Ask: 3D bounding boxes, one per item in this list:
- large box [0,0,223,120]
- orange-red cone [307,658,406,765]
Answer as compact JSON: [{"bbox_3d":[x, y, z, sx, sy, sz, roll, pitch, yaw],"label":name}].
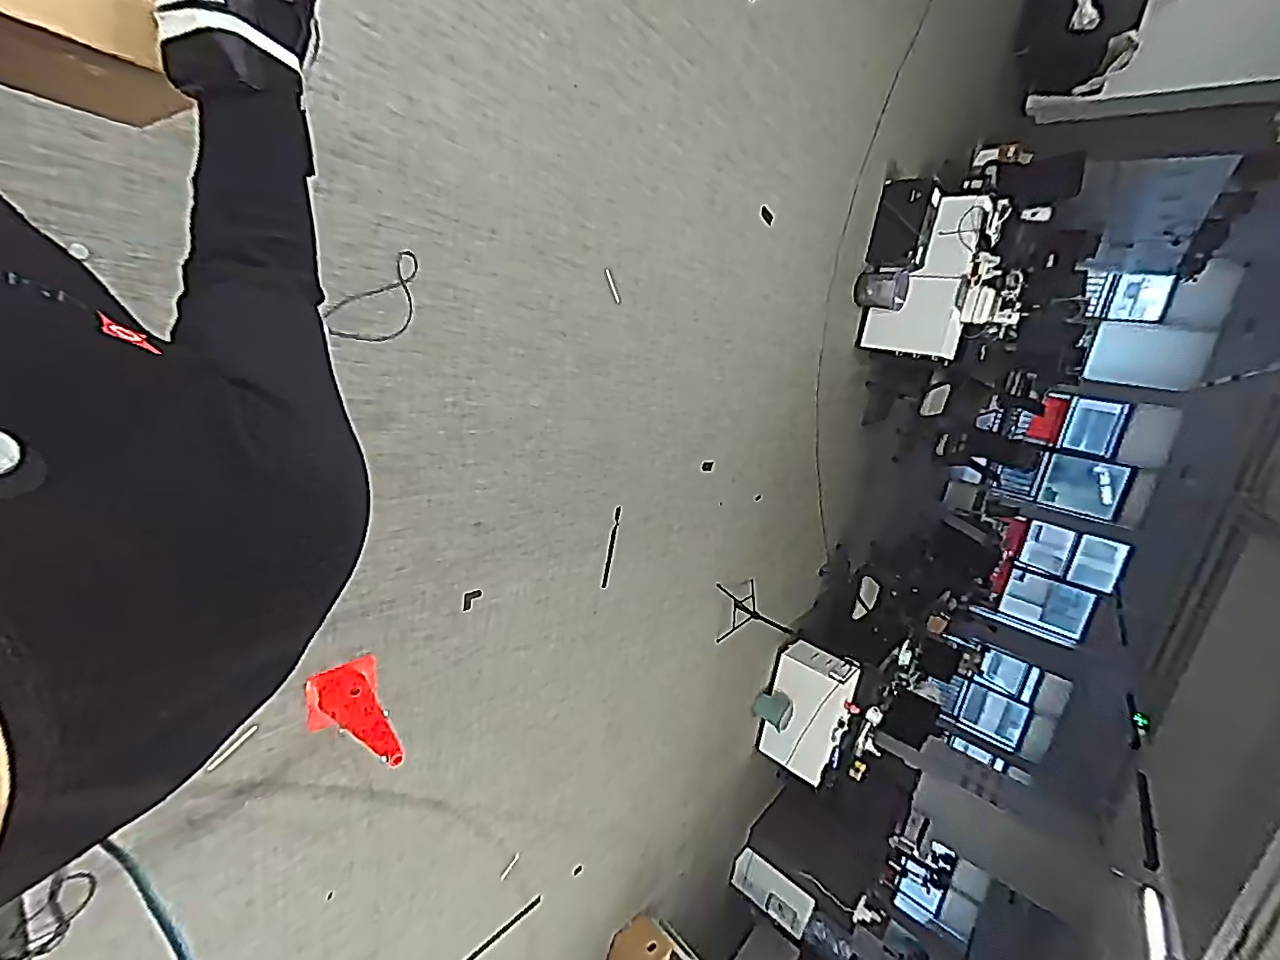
[{"bbox_3d":[-0.531,-0.468,0.307,0.408,0.320,0.320,-8,114,-51],"label":"large box"},{"bbox_3d":[-0.780,0.700,1.551,0.198,0.360,0.199,-11,113,-49],"label":"orange-red cone"}]
